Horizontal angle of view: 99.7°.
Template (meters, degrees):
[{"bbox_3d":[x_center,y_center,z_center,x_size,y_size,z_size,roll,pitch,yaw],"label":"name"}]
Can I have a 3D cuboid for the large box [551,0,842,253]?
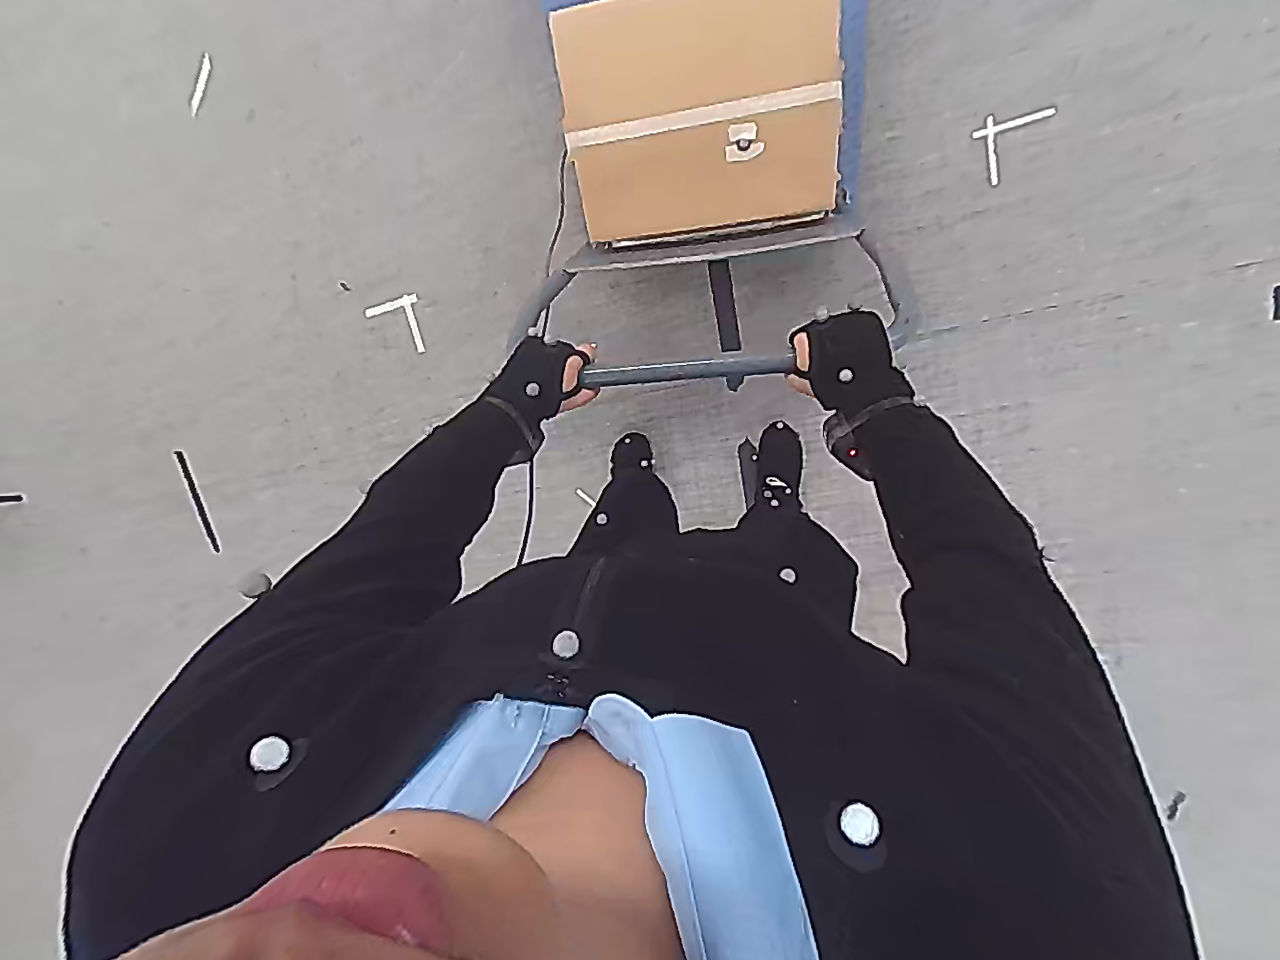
[{"bbox_3d":[0.108,-0.604,0.929,0.408,0.320,0.320,-3,122,12],"label":"large box"}]
